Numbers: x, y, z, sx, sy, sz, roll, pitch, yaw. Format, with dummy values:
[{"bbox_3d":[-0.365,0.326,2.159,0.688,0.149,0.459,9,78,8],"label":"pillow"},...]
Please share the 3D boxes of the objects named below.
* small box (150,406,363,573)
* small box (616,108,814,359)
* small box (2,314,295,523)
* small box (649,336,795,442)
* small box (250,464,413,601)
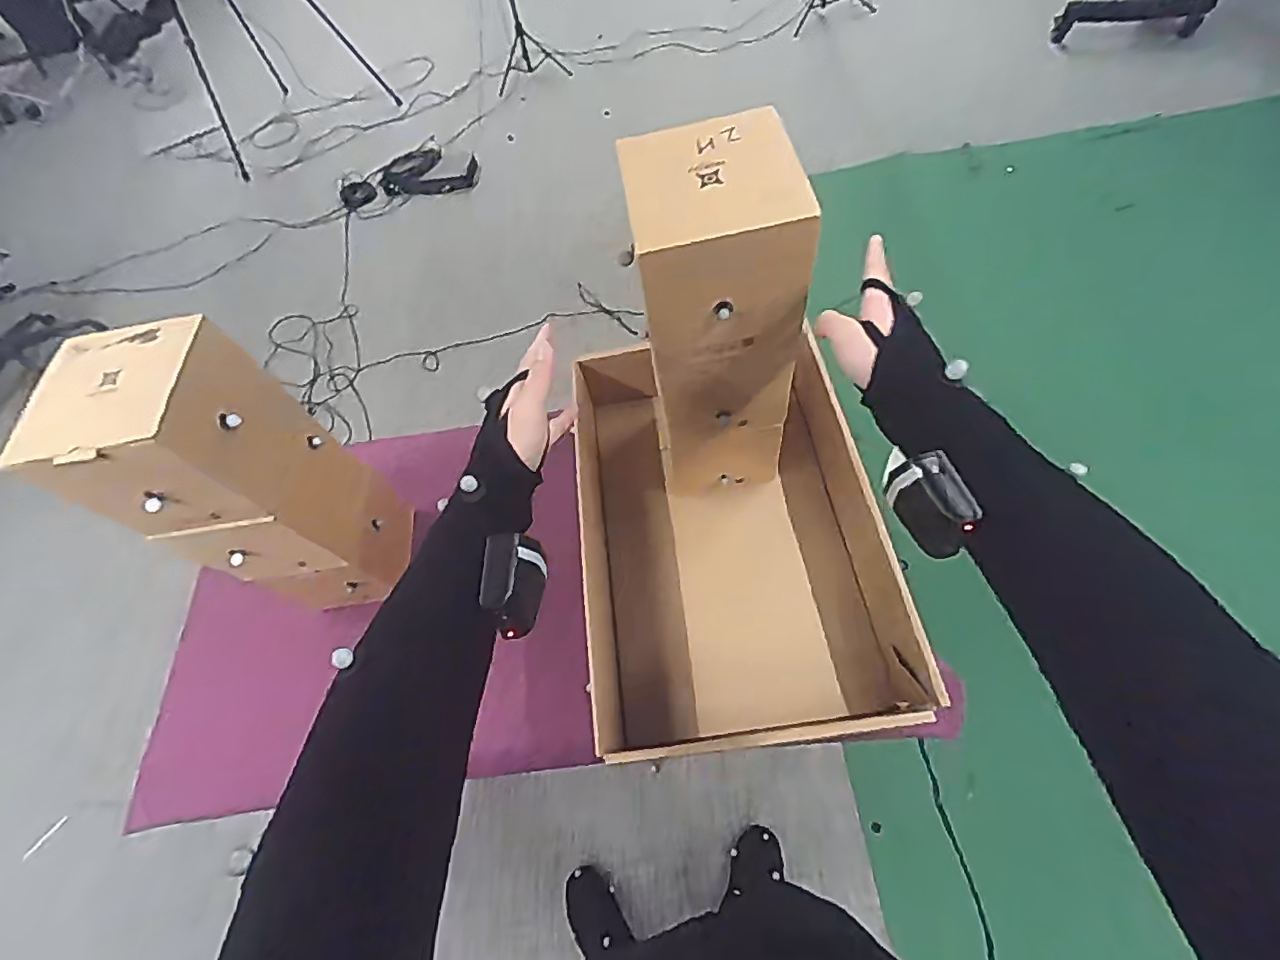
[{"bbox_3d":[-0.525,0.024,0.773,0.168,0.176,0.179,-9,60,3],"label":"small box"},{"bbox_3d":[0.075,-0.249,0.581,0.168,0.176,0.179,-10,62,4],"label":"small box"},{"bbox_3d":[-0.544,-0.060,0.633,0.168,0.176,0.179,-9,61,2],"label":"small box"},{"bbox_3d":[0.097,-0.176,0.729,0.168,0.176,0.179,-11,62,4],"label":"small box"},{"bbox_3d":[-0.505,0.097,0.916,0.168,0.176,0.179,-8,60,2],"label":"small box"}]
